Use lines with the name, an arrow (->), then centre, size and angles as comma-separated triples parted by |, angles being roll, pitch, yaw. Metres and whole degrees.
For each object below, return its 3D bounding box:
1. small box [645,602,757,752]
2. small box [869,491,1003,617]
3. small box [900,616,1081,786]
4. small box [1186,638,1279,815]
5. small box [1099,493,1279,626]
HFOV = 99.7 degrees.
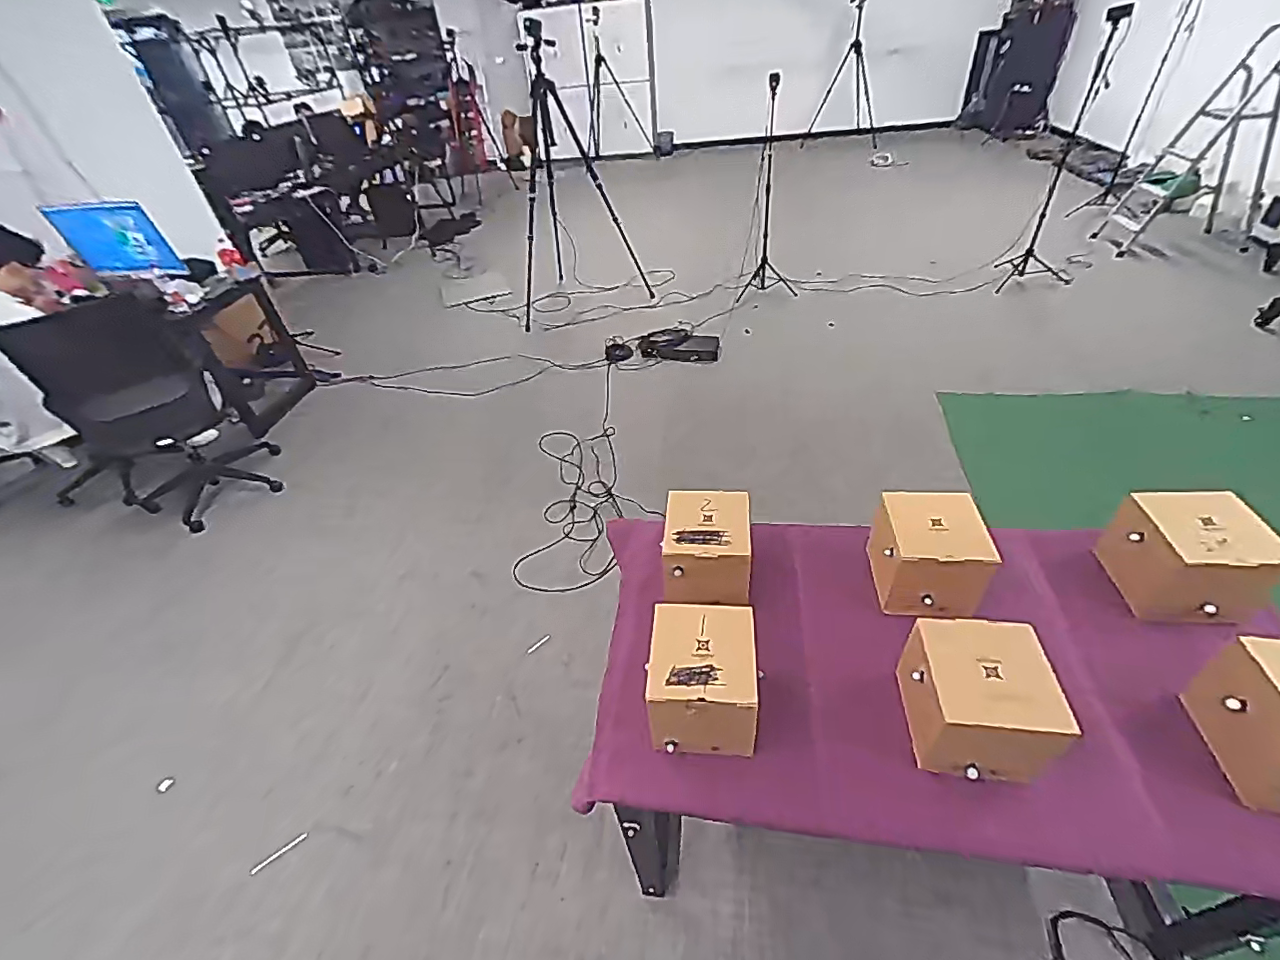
small box -> 0.105, 0.324, 0.891 | 0.168, 0.176, 0.179 | 1, 39, 8
small box -> 0.558, 0.142, 1.051 | 0.168, 0.176, 0.179 | 1, 42, 8
small box -> 0.514, 0.336, 0.830 | 0.168, 0.176, 0.179 | 2, 40, 11
small box -> 0.937, 0.350, 0.754 | 0.168, 0.176, 0.179 | 2, 39, 12
small box -> 0.996, 0.142, 0.986 | 0.168, 0.176, 0.179 | -1, 41, 11
